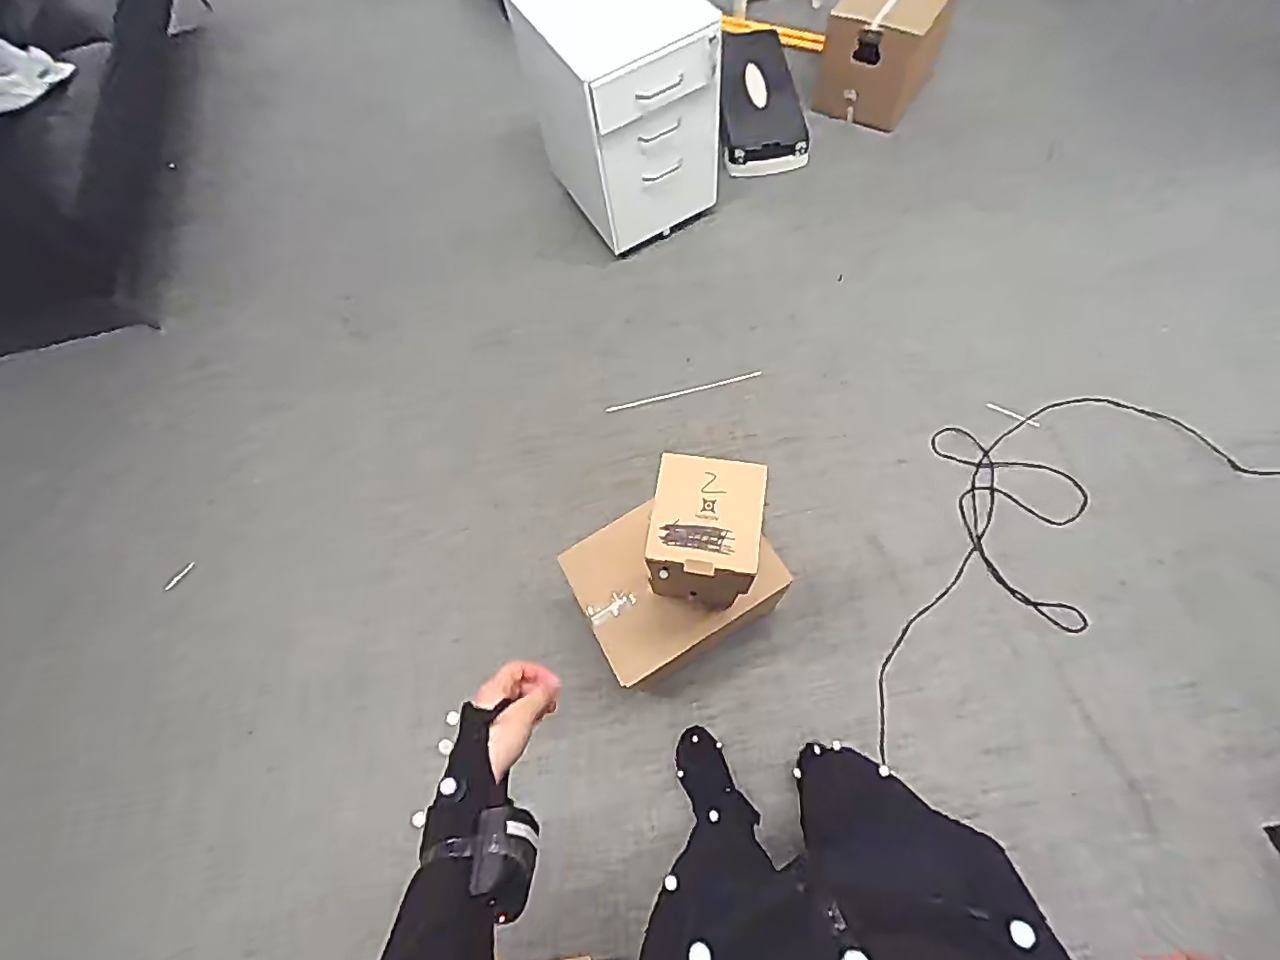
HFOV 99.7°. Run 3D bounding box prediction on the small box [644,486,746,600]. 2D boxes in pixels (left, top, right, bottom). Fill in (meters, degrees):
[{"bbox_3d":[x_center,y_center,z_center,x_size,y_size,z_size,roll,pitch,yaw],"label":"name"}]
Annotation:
[{"bbox_3d":[0.111,0.129,1.052,0.168,0.176,0.179,7,71,9],"label":"small box"}]
